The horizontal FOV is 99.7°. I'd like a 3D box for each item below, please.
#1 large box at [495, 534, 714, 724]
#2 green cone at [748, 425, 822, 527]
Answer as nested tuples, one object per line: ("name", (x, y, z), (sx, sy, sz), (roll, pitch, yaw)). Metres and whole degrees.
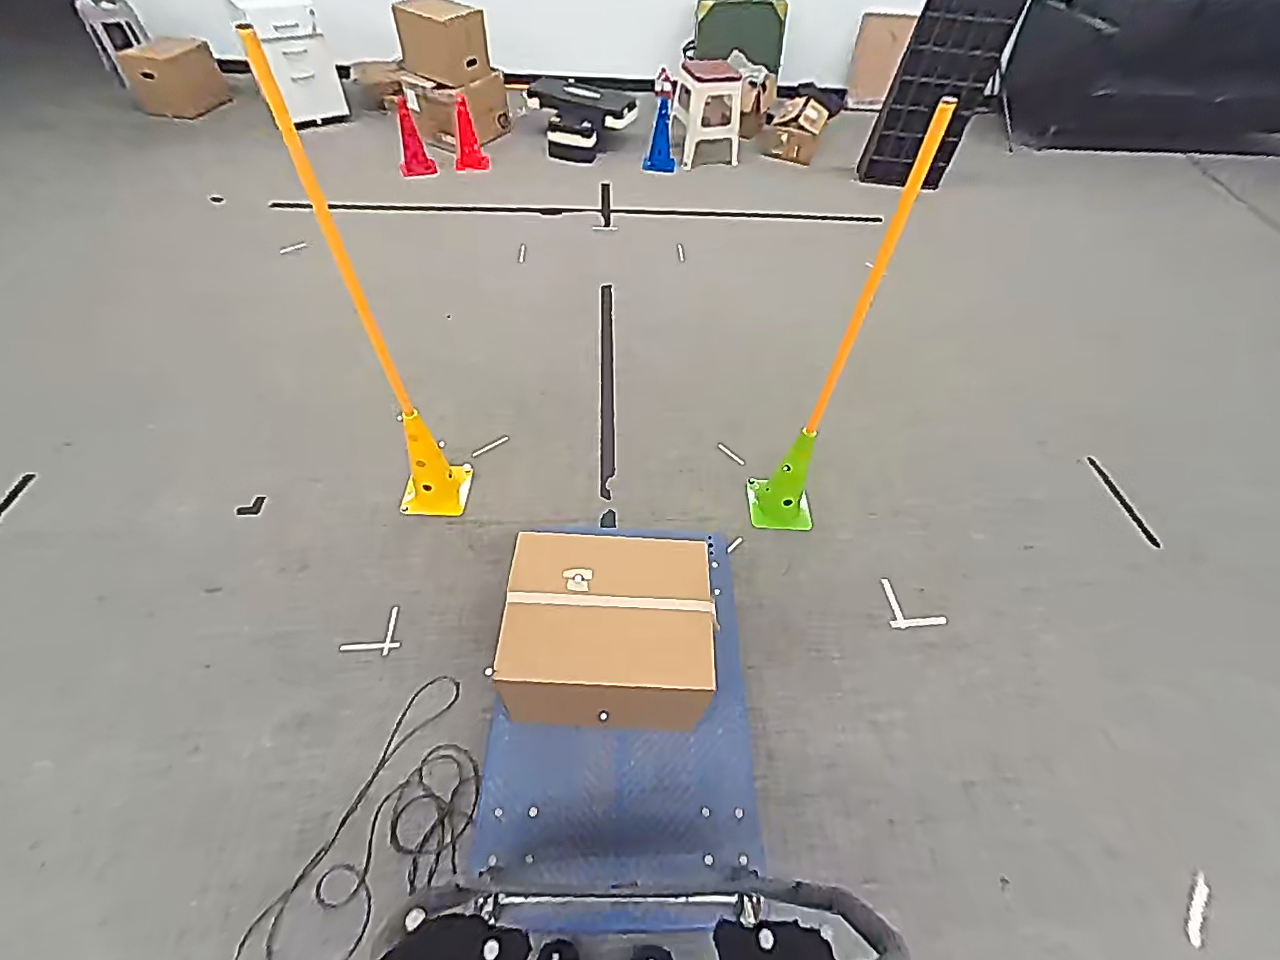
("large box", (-0.066, 0.334, 1.183), (0.408, 0.320, 0.320), (3, 52, -1))
("green cone", (0.486, -0.032, 1.694), (0.202, 0.368, 0.200), (4, 52, -3))
